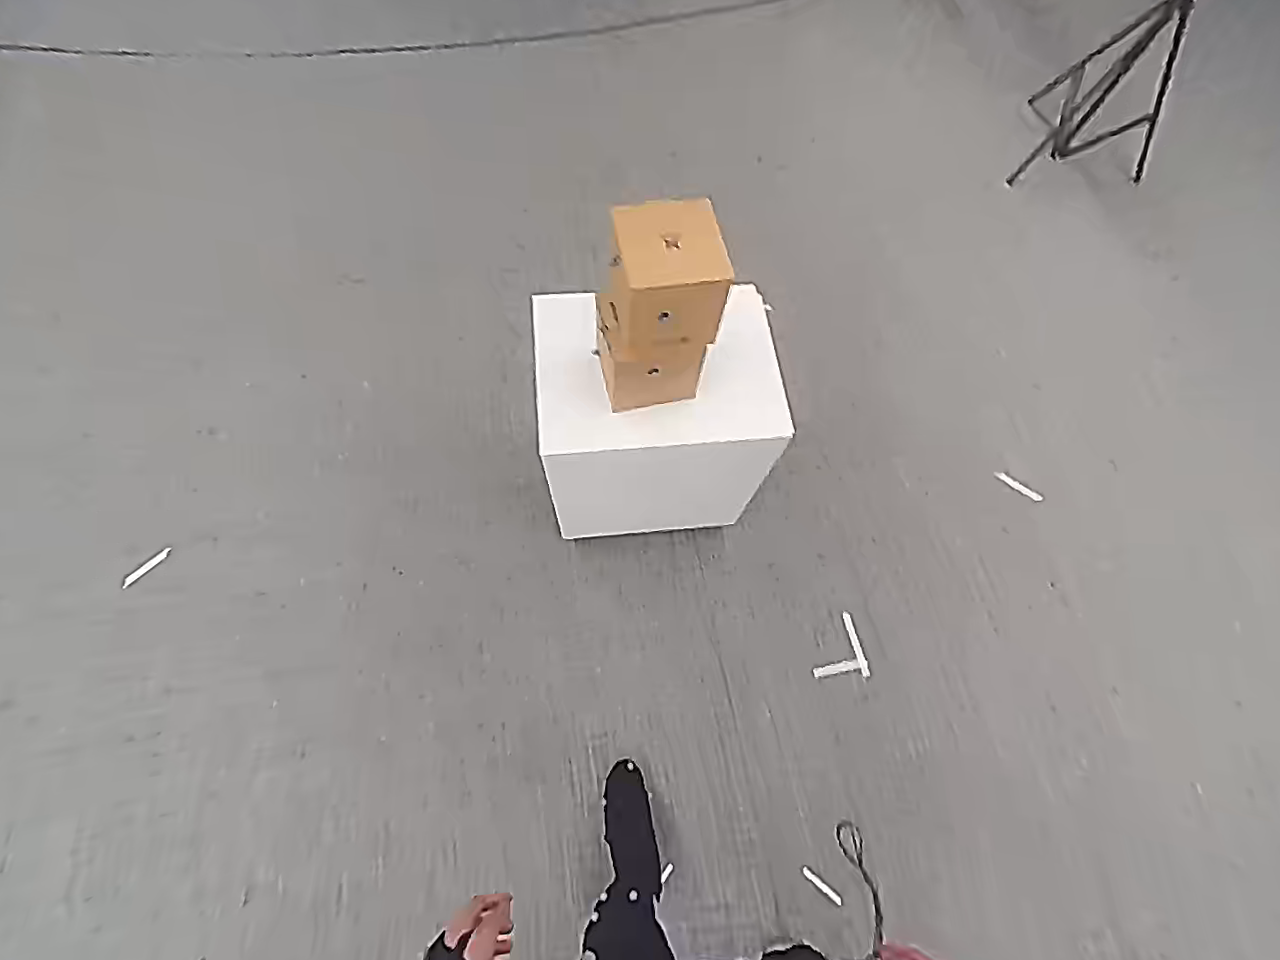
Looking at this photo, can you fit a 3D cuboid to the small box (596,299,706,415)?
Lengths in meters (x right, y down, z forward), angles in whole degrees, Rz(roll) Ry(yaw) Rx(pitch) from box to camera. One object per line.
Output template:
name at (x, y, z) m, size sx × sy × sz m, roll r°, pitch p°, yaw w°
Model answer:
small box at (0.014, -0.245, 1.066) m, size 0.179 × 0.176 × 0.168 m, roll -11°, pitch 67°, yaw -9°

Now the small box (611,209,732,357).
small box at (0.044, -0.327, 0.926) m, size 0.168 × 0.176 × 0.179 m, roll -9°, pitch 66°, yaw -8°
